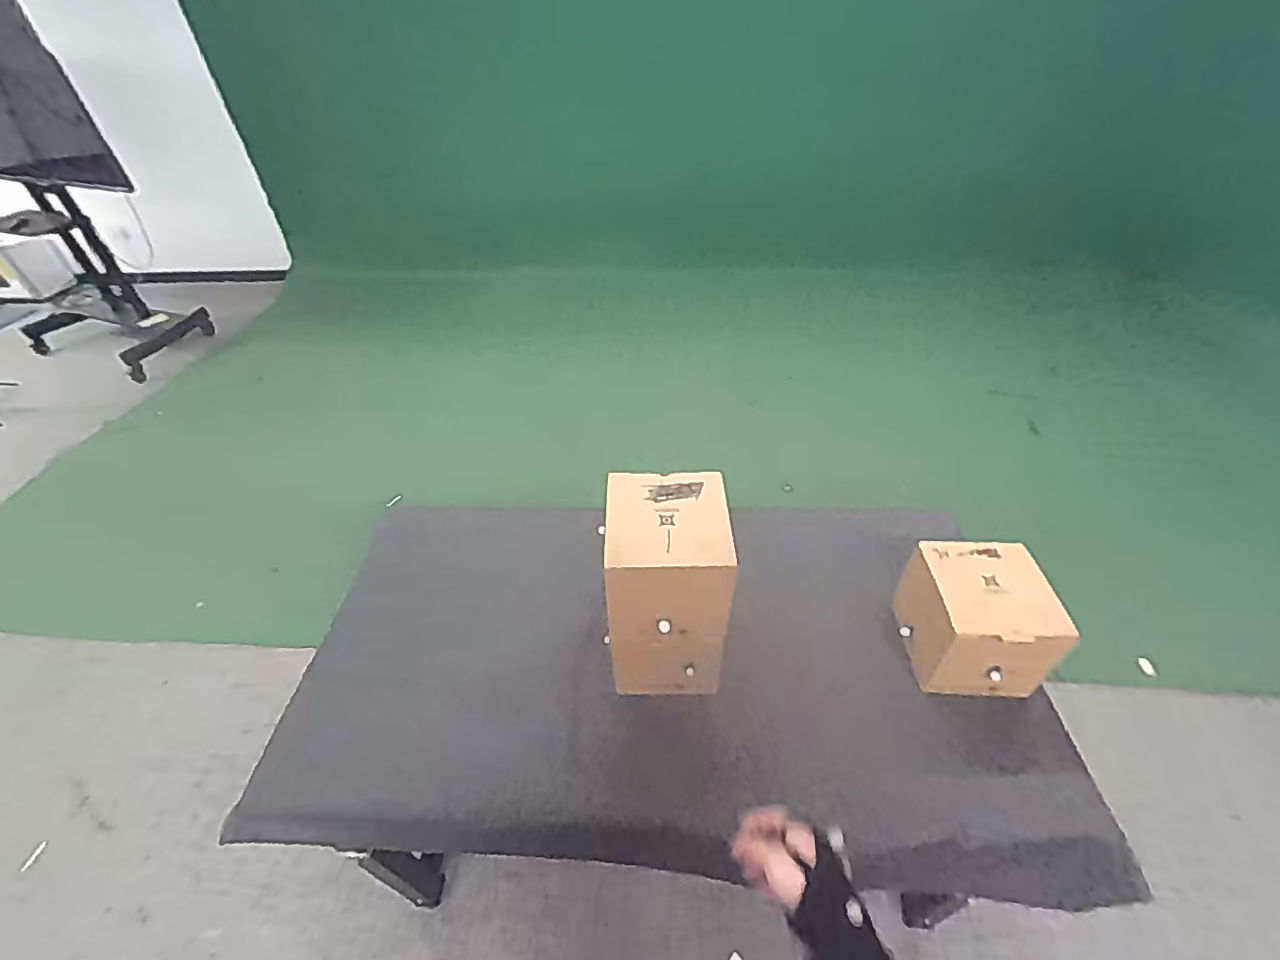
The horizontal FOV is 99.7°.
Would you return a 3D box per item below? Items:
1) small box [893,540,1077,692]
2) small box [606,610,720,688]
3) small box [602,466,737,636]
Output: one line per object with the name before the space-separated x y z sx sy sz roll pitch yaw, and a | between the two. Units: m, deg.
small box | 0.523 0.215 0.852 0.168 0.176 0.179 1 42 4
small box | 0.037 0.219 0.874 0.168 0.176 0.179 0 41 1
small box | 0.036 0.098 0.762 0.168 0.176 0.179 0 43 0
